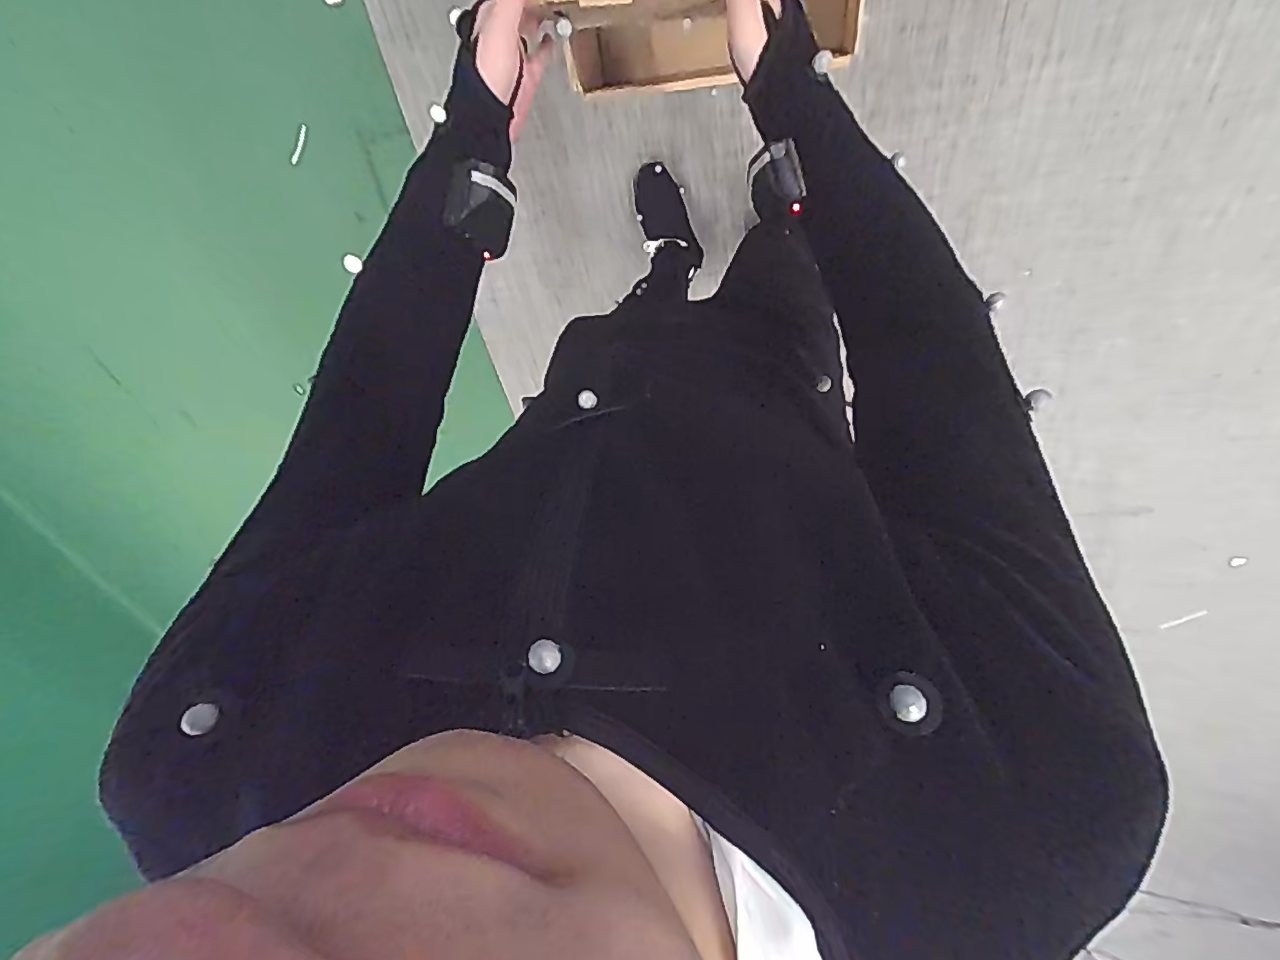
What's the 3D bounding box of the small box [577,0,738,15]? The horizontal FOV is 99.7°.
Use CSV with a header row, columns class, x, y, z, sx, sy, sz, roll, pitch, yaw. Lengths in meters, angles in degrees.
class,x,y,z,sx,sy,sz,roll,pitch,yaw
small box,0.027,-0.609,0.569,0.168,0.176,0.179,6,127,10
